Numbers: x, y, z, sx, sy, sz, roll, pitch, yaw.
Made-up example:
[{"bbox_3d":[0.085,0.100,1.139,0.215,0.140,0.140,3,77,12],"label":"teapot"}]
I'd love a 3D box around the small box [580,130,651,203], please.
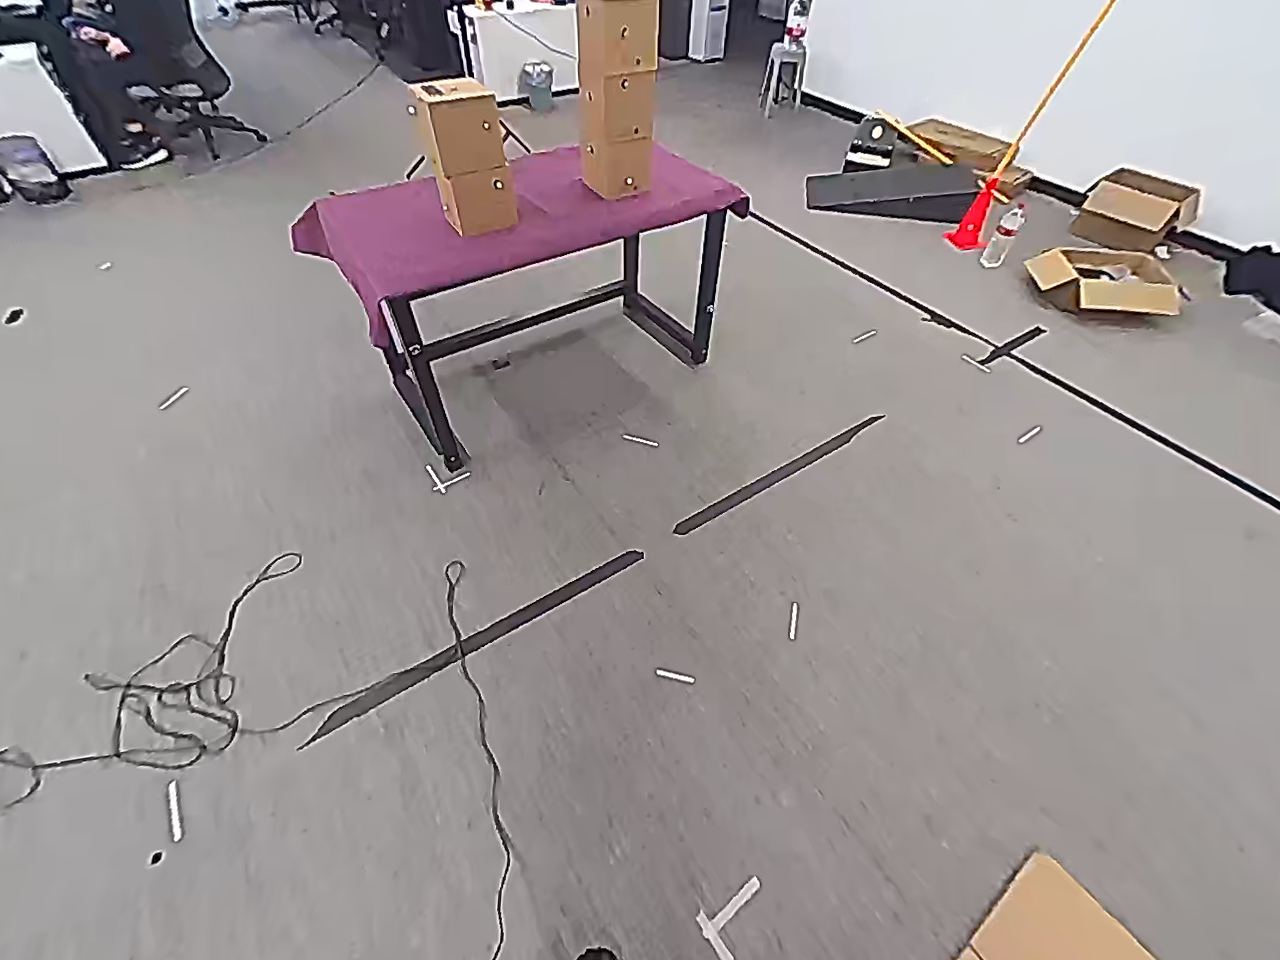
[{"bbox_3d":[-0.081,-1.021,1.747,0.168,0.176,0.179,-25,55,-20],"label":"small box"}]

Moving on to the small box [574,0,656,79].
[{"bbox_3d":[-0.068,-1.227,1.492,0.168,0.176,0.179,-24,54,-19],"label":"small box"}]

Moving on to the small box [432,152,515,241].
[{"bbox_3d":[-0.472,-0.819,1.563,0.179,0.176,0.168,-24,54,-20],"label":"small box"}]

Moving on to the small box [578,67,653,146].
[{"bbox_3d":[-0.075,-1.125,1.620,0.168,0.176,0.179,-23,53,-19],"label":"small box"}]
